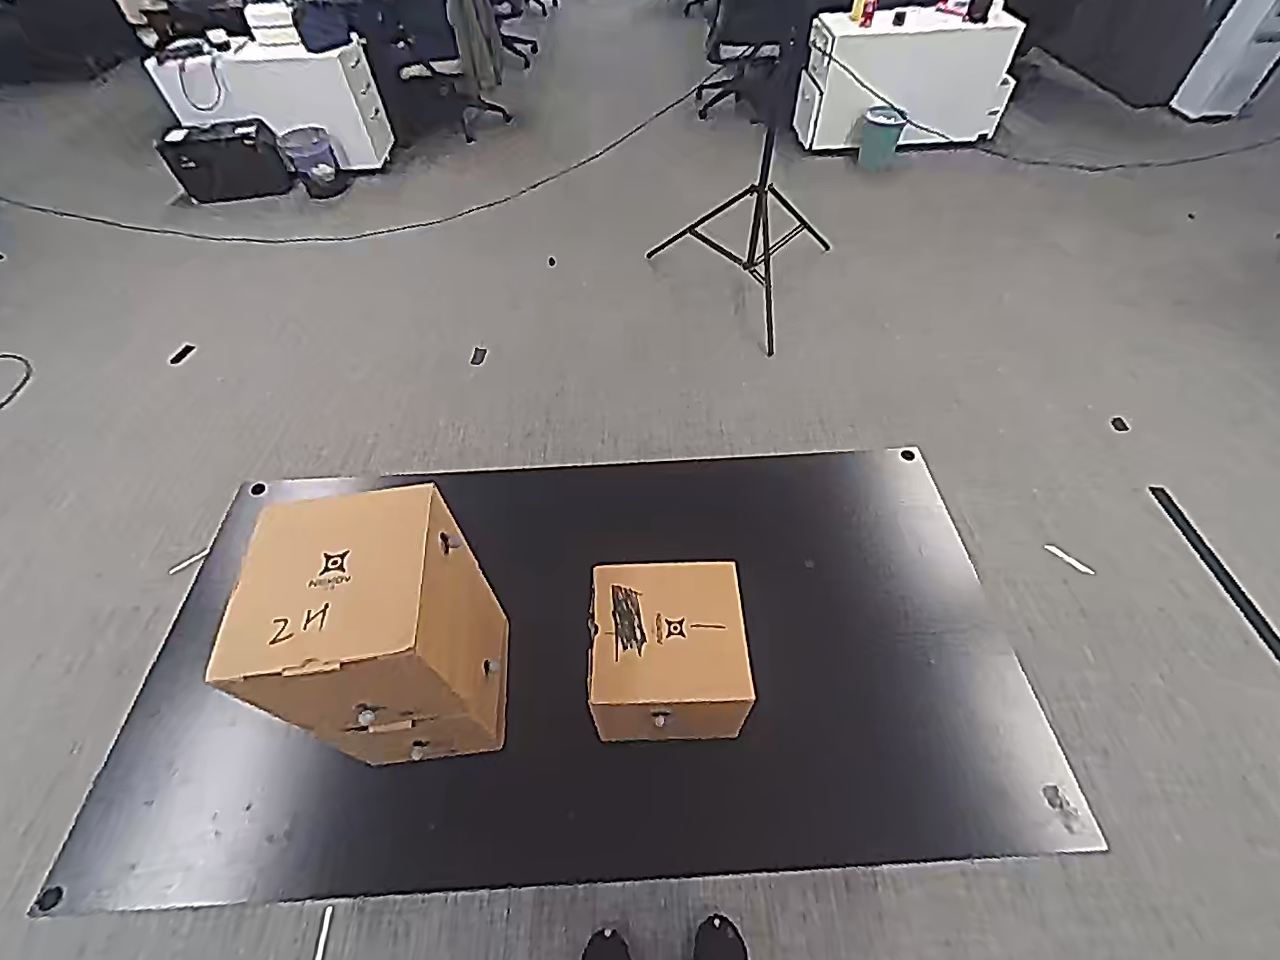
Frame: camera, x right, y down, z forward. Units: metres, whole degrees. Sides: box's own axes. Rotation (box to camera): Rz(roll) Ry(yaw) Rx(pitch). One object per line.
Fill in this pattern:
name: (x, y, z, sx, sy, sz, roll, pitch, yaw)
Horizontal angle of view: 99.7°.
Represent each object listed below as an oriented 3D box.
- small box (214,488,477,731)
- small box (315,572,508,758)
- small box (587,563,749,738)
small box: (-0.271, 0.134, 0.553, 0.168, 0.176, 0.179, -8, 52, -3)
small box: (-0.267, 0.239, 0.681, 0.168, 0.176, 0.179, -7, 53, -3)
small box: (0.031, 0.220, 0.684, 0.179, 0.176, 0.168, -2, 52, 0)
